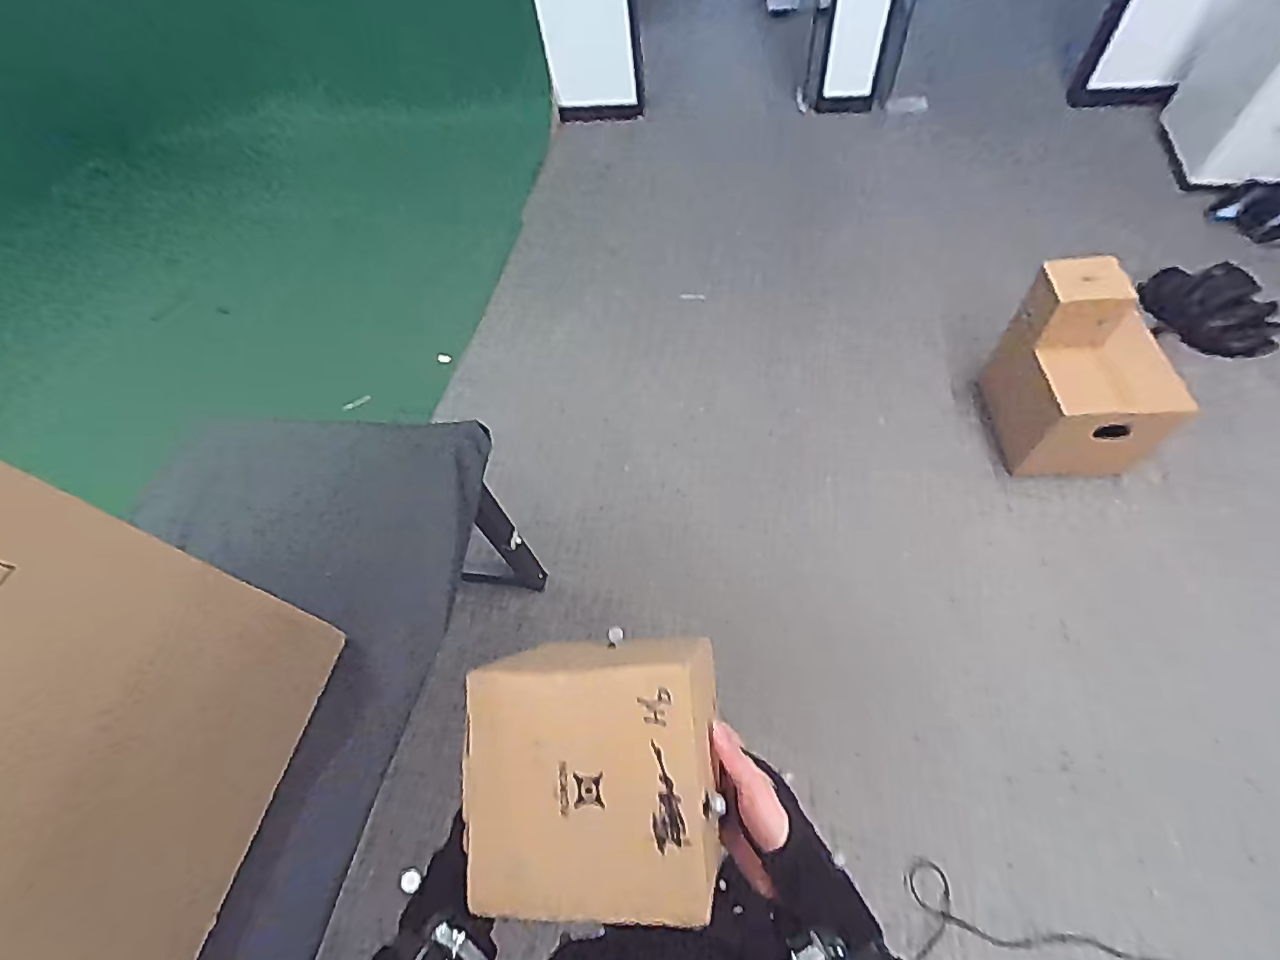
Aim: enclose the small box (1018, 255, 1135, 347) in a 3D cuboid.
[{"bbox_3d":[1.176,-0.484,1.473,0.179,0.176,0.168,-2,57,12],"label":"small box"}]
